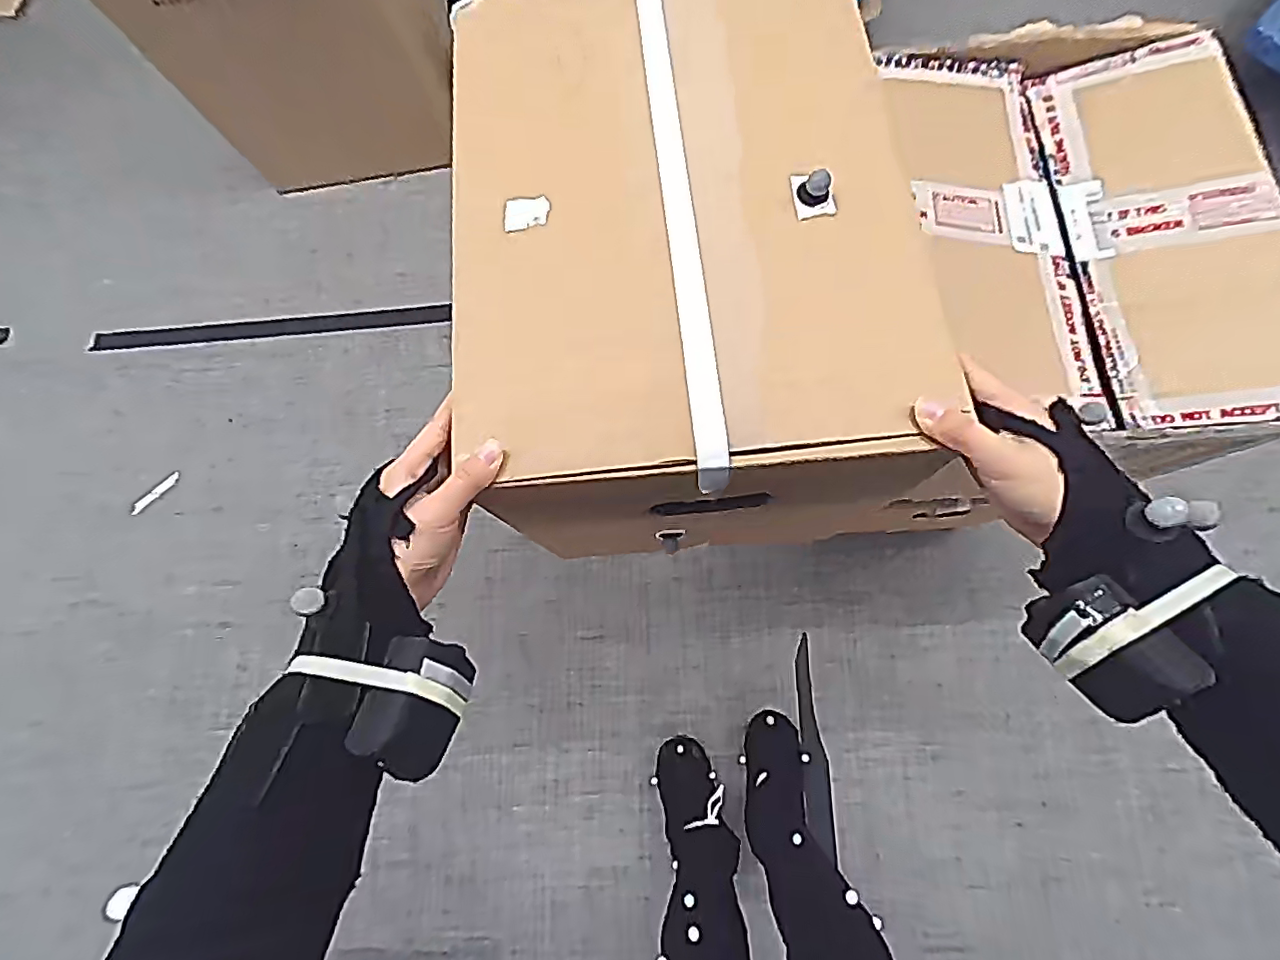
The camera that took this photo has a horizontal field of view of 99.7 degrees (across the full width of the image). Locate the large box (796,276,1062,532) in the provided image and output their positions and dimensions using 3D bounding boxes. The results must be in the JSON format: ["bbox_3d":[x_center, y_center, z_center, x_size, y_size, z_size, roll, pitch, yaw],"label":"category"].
[{"bbox_3d":[0.514,-0.124,1.053,0.320,0.320,0.408,-4,77,3],"label":"large box"}]
